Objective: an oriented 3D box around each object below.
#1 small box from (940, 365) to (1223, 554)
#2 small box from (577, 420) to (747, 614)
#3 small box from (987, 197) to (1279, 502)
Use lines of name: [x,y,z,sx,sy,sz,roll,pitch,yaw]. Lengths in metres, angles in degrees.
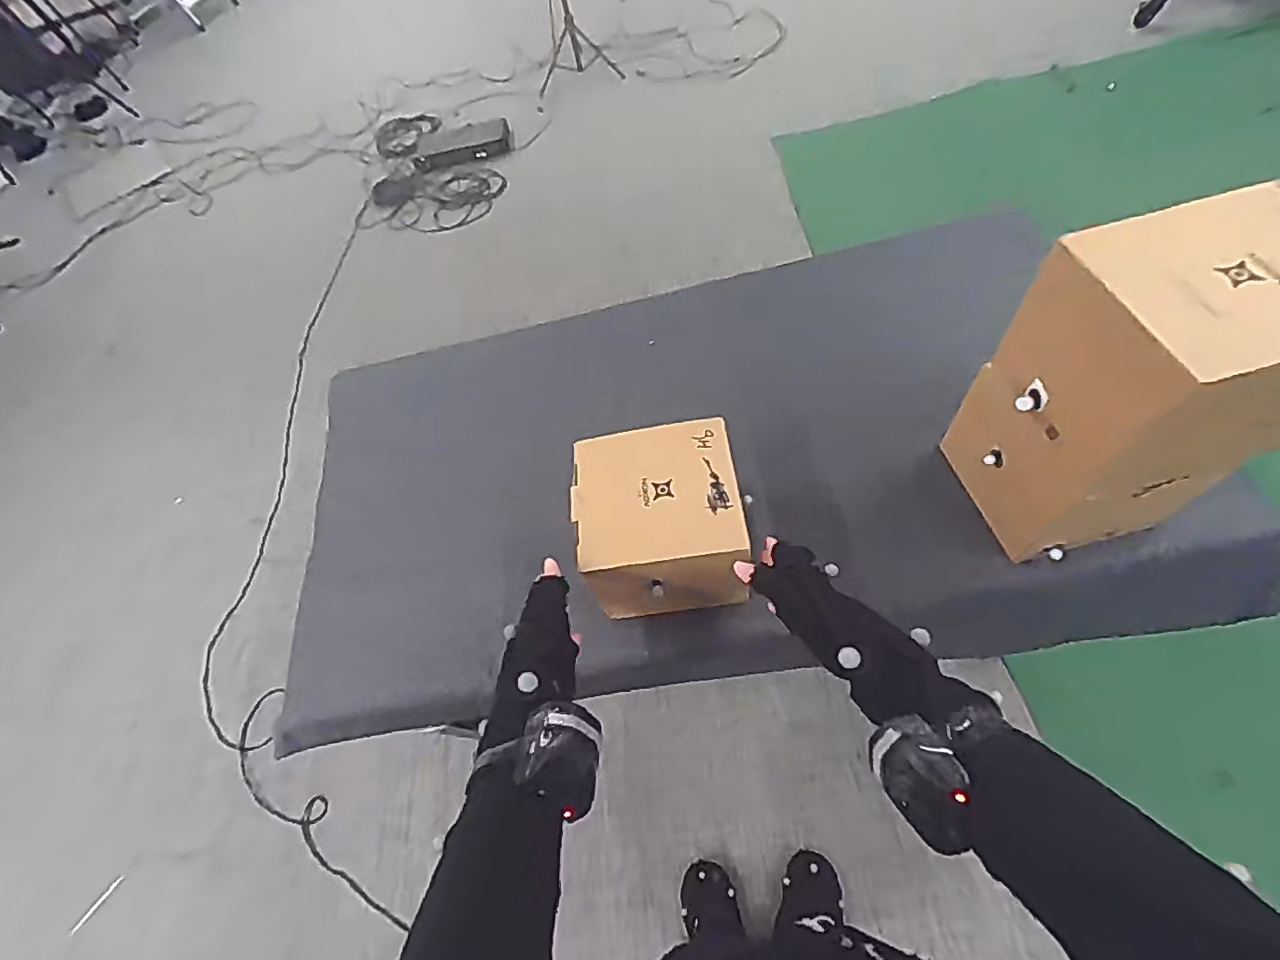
small box: [0.480,-0.030,0.614,0.168,0.176,0.179,-16,58,2]
small box: [0.031,0.053,0.656,0.179,0.176,0.168,-9,58,6]
small box: [0.452,-0.102,0.472,0.179,0.176,0.168,-15,57,5]
